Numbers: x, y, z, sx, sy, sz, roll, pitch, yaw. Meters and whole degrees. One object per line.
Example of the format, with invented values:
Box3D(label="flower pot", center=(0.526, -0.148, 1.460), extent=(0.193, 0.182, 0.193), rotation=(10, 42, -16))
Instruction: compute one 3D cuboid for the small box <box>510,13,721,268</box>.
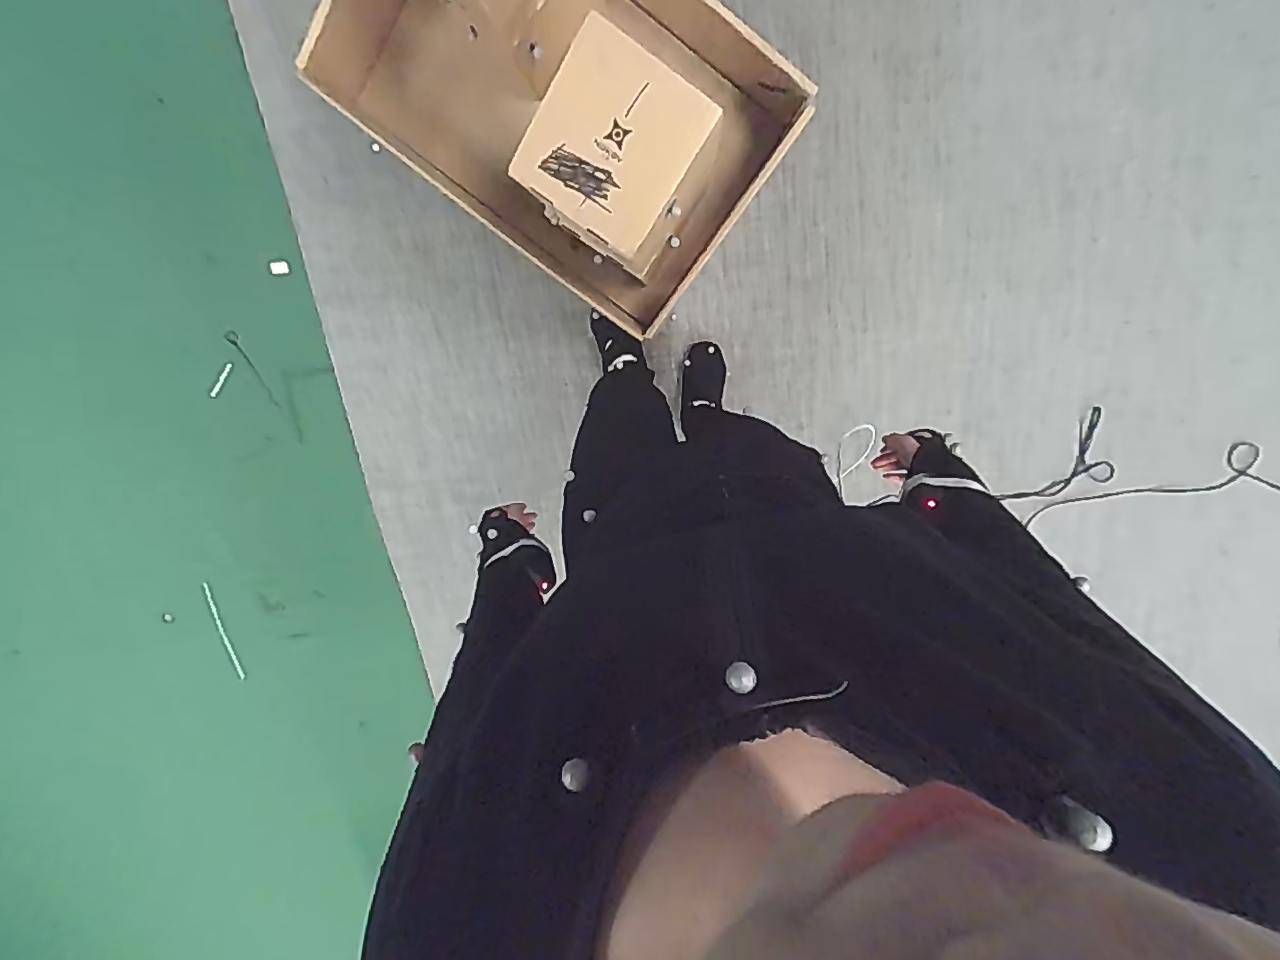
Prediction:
Box3D(label="small box", center=(-0.022, -0.378, 0.647), extent=(0.168, 0.176, 0.179), rotation=(34, 105, -6))
